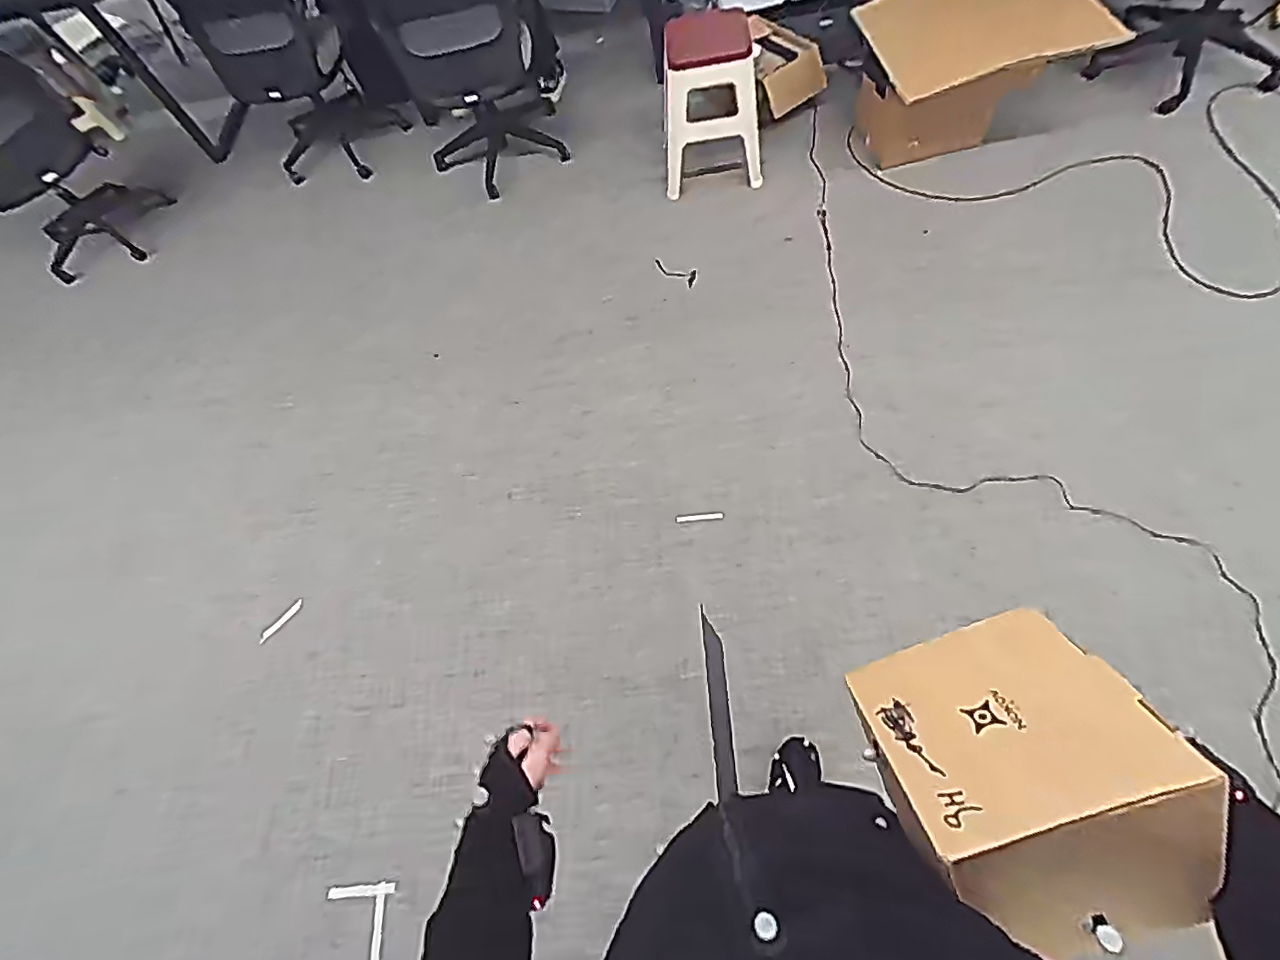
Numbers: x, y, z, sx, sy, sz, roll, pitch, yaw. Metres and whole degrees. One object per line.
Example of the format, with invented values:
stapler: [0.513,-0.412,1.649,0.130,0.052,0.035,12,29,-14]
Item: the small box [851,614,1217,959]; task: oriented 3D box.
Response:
small box: [0.308,0.251,0.450,0.179,0.176,0.168,-23,23,7]
